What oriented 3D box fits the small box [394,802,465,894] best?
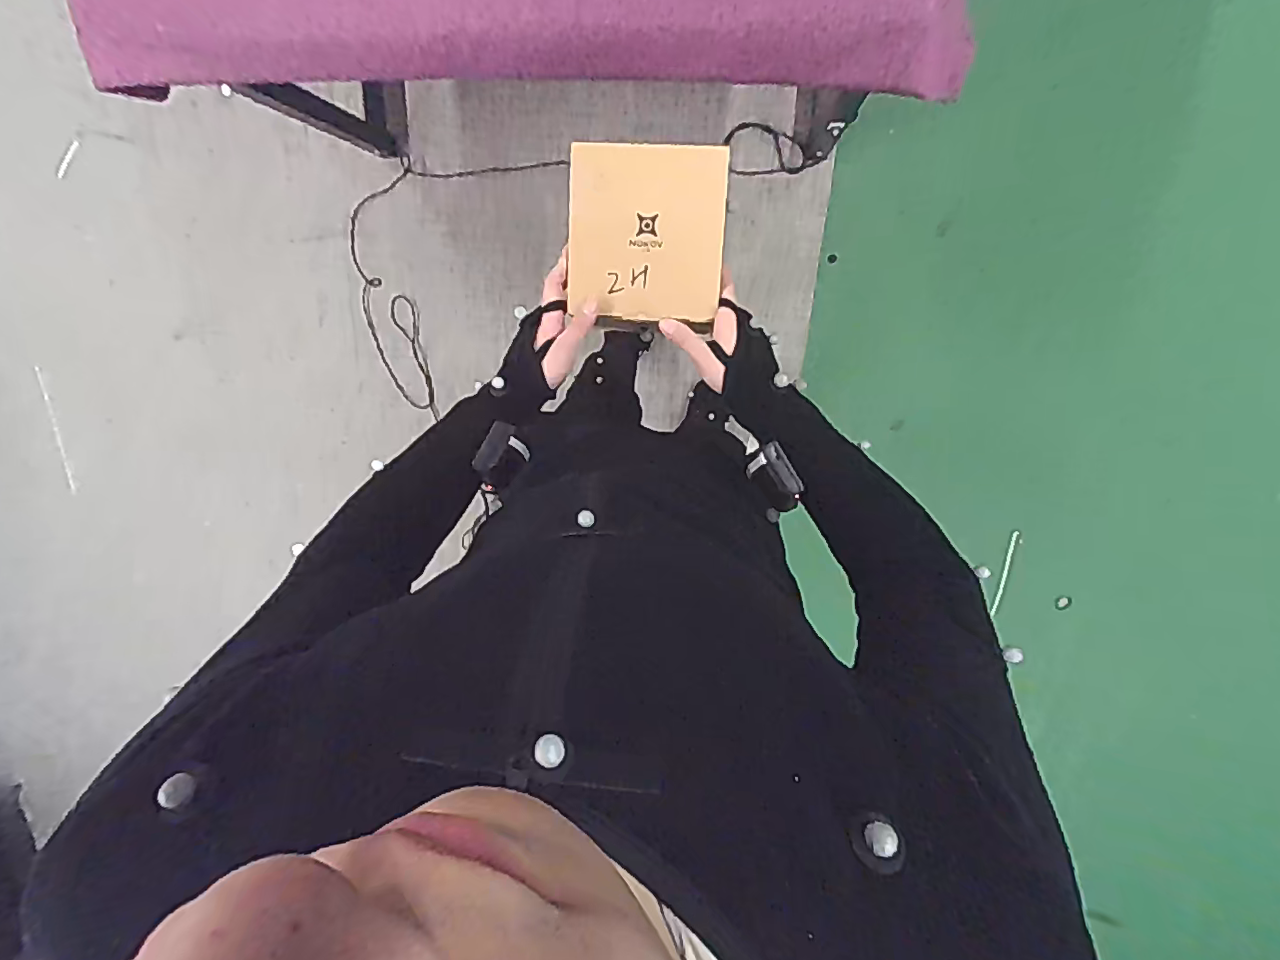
[{"bbox_3d":[-0.708,1.239,1.827,0.168,0.176,0.179,11,107,5],"label":"small box"}]

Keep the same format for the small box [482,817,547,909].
[{"bbox_3d":[-0.411,1.266,1.793,0.168,0.176,0.179,5,108,6],"label":"small box"}]

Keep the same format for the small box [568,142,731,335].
[{"bbox_3d":[0.012,-0.274,0.650,0.168,0.176,0.179,4,102,3],"label":"small box"}]
